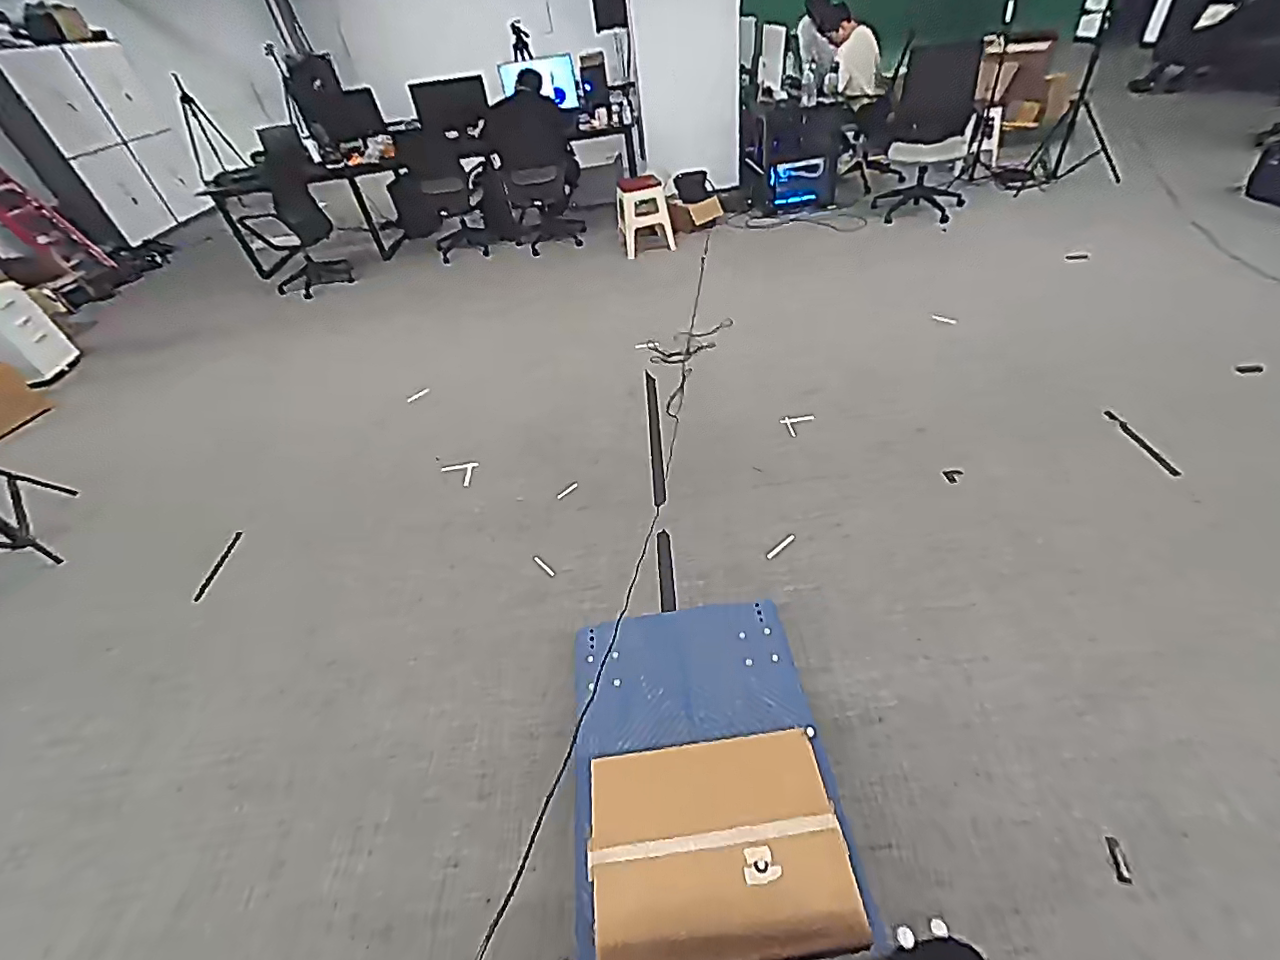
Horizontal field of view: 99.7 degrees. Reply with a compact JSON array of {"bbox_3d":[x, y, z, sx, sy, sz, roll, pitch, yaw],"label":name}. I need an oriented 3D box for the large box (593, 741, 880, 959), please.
[{"bbox_3d":[0.142,0.713,0.956,0.408,0.320,0.320,-9,41,0],"label":"large box"}]
